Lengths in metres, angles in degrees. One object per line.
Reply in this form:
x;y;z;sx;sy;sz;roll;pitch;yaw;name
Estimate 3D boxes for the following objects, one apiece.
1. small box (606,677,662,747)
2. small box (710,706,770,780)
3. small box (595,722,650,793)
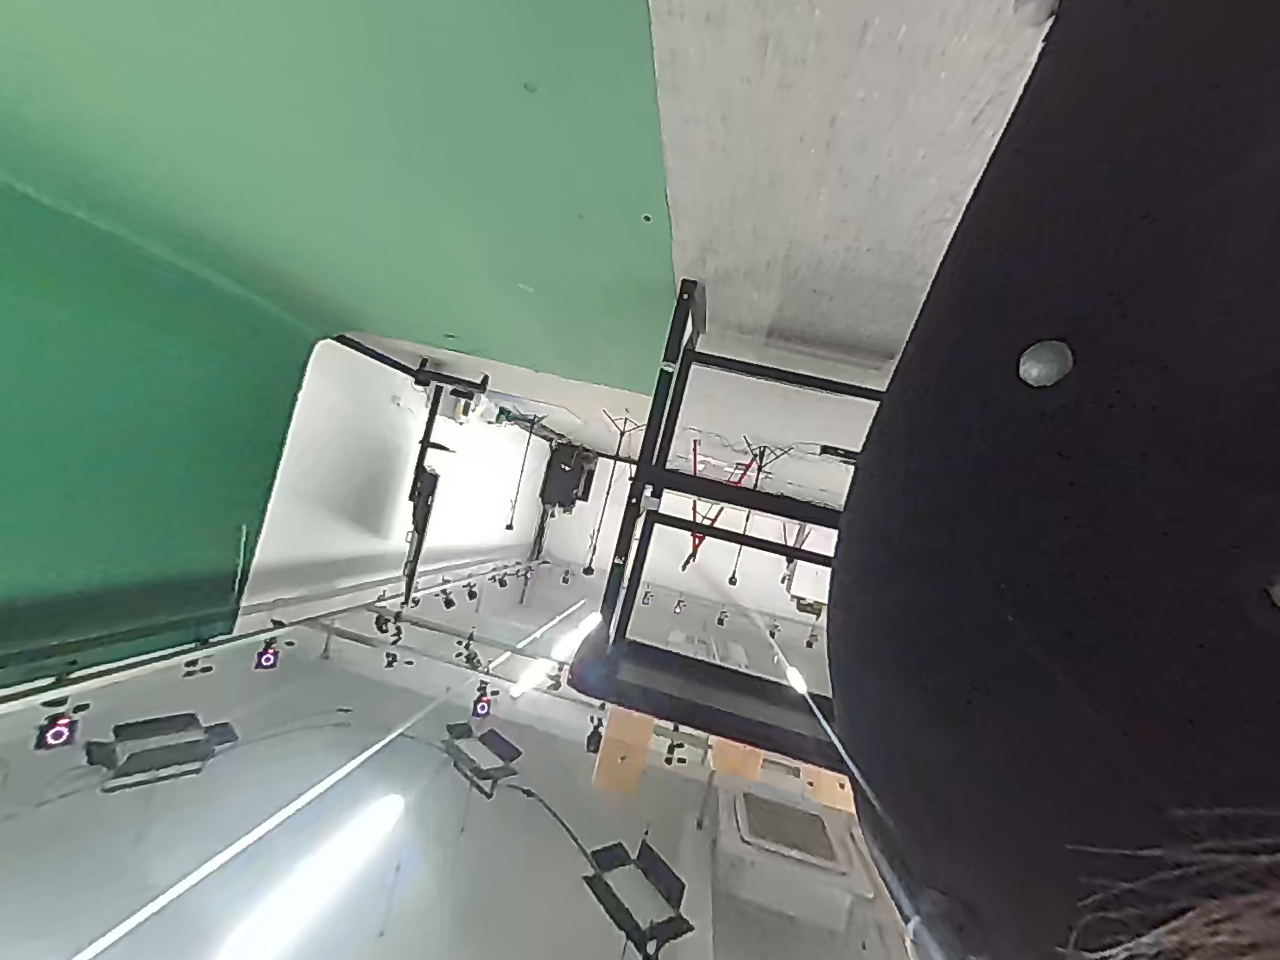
-0.017;0.837;1.976;0.168;0.176;0.179;13;177;3;small box
0.355;0.927;1.930;0.168;0.176;0.179;14;179;4;small box
-0.057;0.996;1.972;0.168;0.176;0.179;13;178;3;small box
